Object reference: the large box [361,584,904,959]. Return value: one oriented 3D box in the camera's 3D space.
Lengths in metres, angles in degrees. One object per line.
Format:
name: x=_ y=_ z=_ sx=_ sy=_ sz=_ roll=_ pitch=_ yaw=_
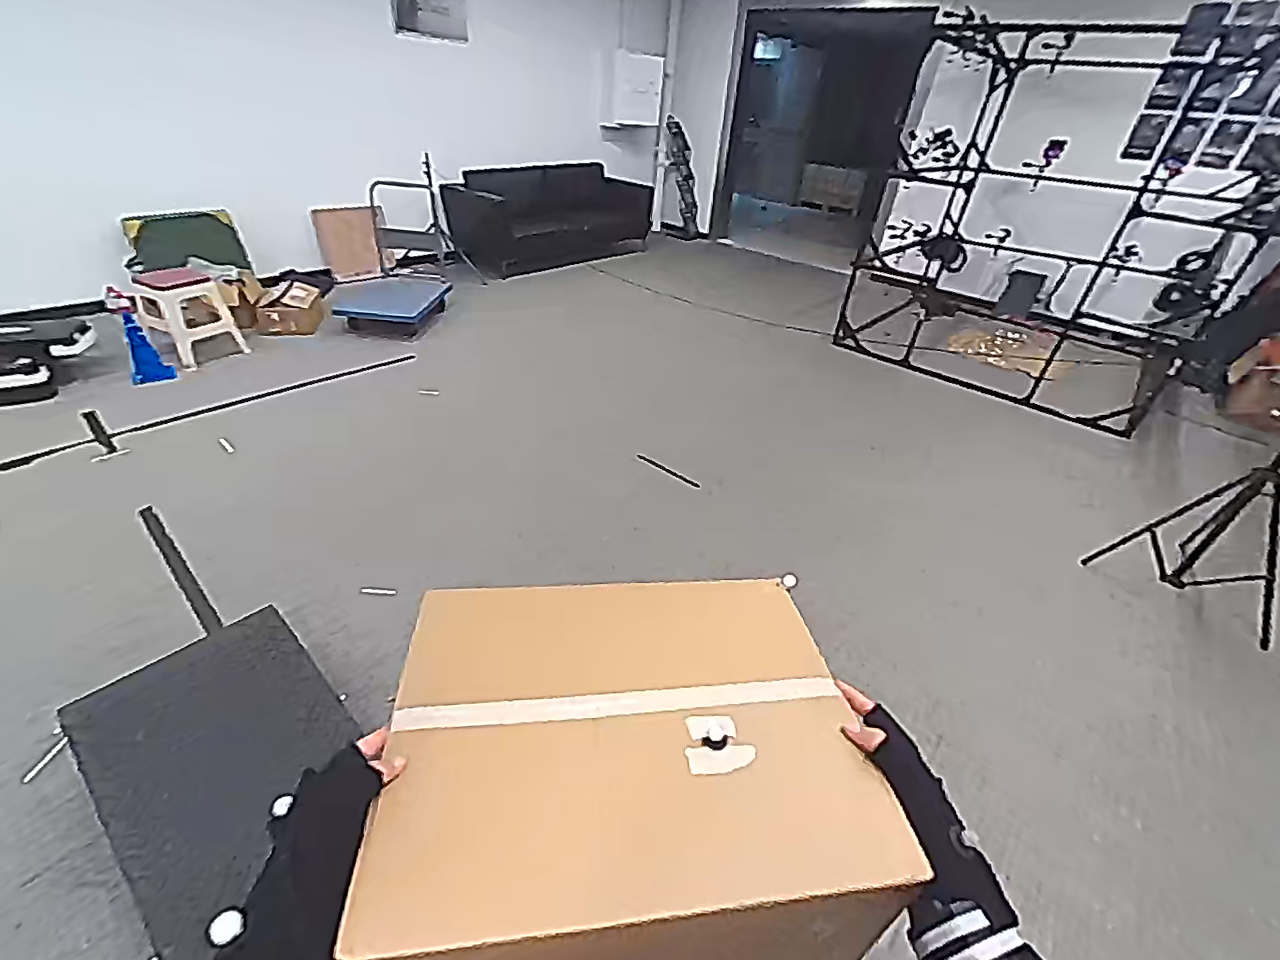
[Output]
large box: x=-0.025 y=0.338 z=0.581 sx=0.408 sy=0.320 sz=0.320 roll=-1 pitch=33 yaw=-10
